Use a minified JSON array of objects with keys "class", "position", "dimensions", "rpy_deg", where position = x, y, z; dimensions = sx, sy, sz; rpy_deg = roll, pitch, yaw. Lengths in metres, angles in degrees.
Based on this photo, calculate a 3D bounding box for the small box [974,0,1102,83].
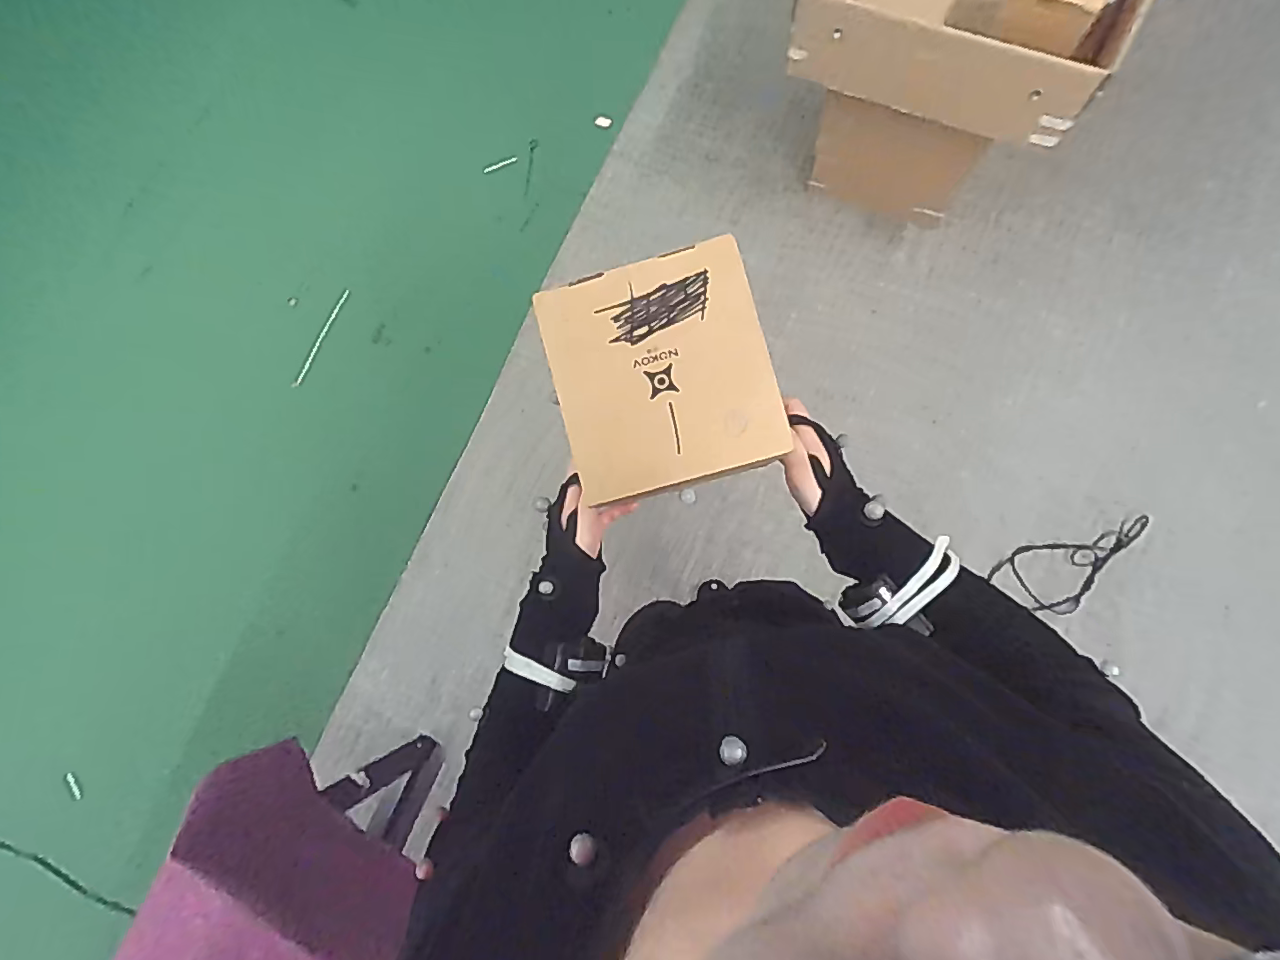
[{"class":"small box","position":[0.792,-0.935,1.052],"dimensions":[0.168,0.176,0.179],"rpy_deg":[28,86,13]}]

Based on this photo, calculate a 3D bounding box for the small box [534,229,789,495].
[{"class":"small box","position":[0.021,-0.088,0.494],"dimensions":[0.168,0.176,0.179],"rpy_deg":[-15,87,6]}]
